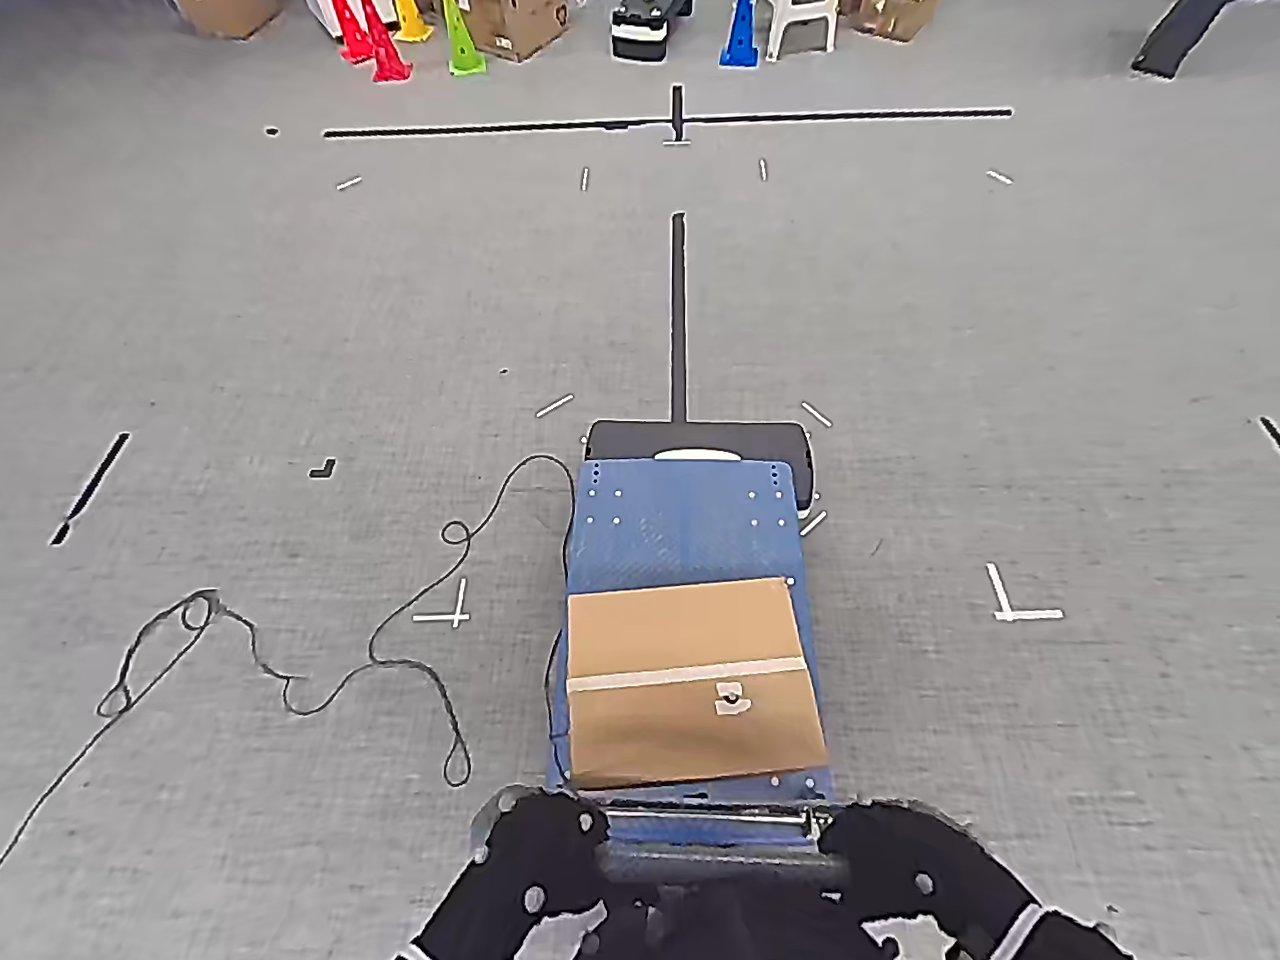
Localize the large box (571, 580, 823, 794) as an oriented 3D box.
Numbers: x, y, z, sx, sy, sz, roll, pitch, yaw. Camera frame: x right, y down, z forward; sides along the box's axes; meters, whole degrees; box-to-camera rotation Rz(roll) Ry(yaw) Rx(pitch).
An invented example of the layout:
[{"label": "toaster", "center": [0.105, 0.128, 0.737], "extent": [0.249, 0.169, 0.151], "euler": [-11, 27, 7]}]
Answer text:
[{"label": "large box", "center": [0.085, 0.415, 1.062], "extent": [0.408, 0.320, 0.320], "euler": [-5, 59, -2]}]
